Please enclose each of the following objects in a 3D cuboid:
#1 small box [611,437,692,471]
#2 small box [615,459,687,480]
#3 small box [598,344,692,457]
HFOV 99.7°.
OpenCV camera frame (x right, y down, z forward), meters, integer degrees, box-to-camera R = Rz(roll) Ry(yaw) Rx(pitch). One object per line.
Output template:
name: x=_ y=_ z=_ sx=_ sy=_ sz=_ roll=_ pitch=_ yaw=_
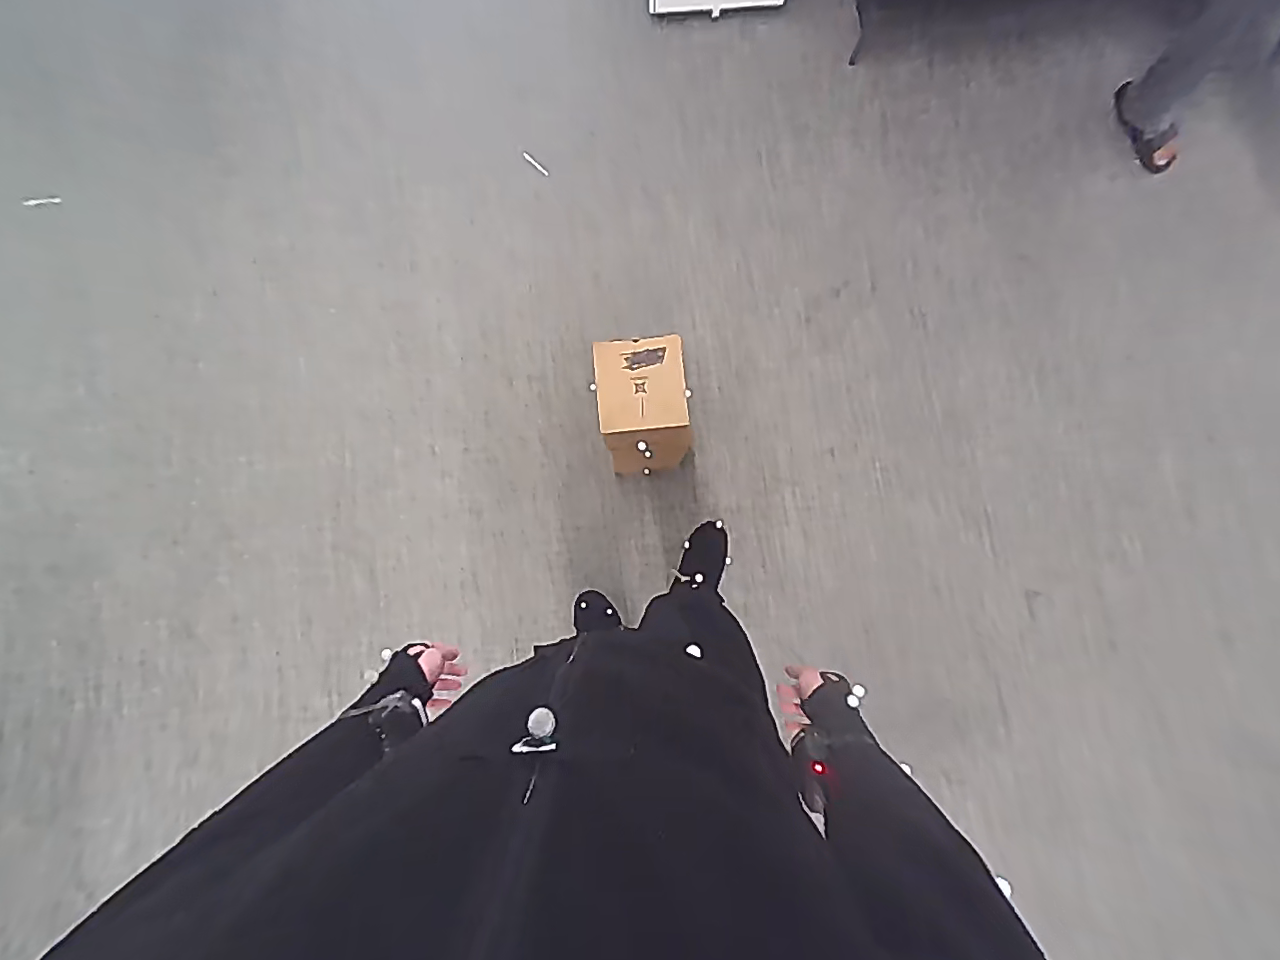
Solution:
small box: x=0.019 y=-0.120 z=1.241 sx=0.179 sy=0.176 sz=0.168 roll=-6 pitch=81 yaw=-2
small box: x=0.018 y=-0.097 z=1.402 sx=0.179 sy=0.176 sz=0.168 roll=-6 pitch=81 yaw=-1
small box: x=0.008 y=-0.153 z=1.079 sx=0.168 sy=0.176 sz=0.179 roll=-6 pitch=82 yaw=0
